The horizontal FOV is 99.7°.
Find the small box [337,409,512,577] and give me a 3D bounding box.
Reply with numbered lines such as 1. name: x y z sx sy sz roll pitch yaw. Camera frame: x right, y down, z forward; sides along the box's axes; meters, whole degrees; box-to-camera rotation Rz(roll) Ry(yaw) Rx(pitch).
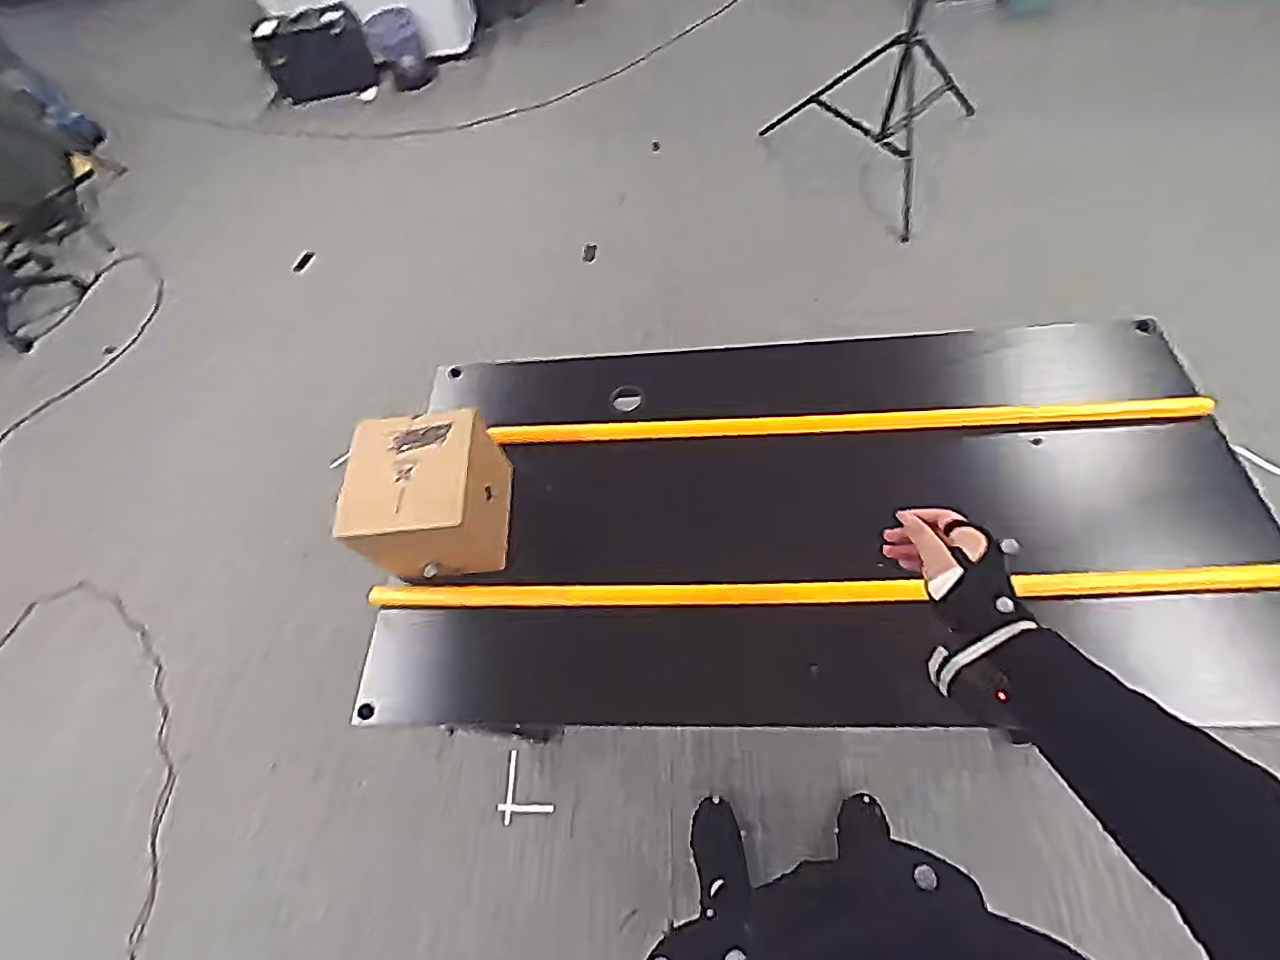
1. small box: -0.288 0.024 0.769 0.168 0.176 0.179 -6 62 4
